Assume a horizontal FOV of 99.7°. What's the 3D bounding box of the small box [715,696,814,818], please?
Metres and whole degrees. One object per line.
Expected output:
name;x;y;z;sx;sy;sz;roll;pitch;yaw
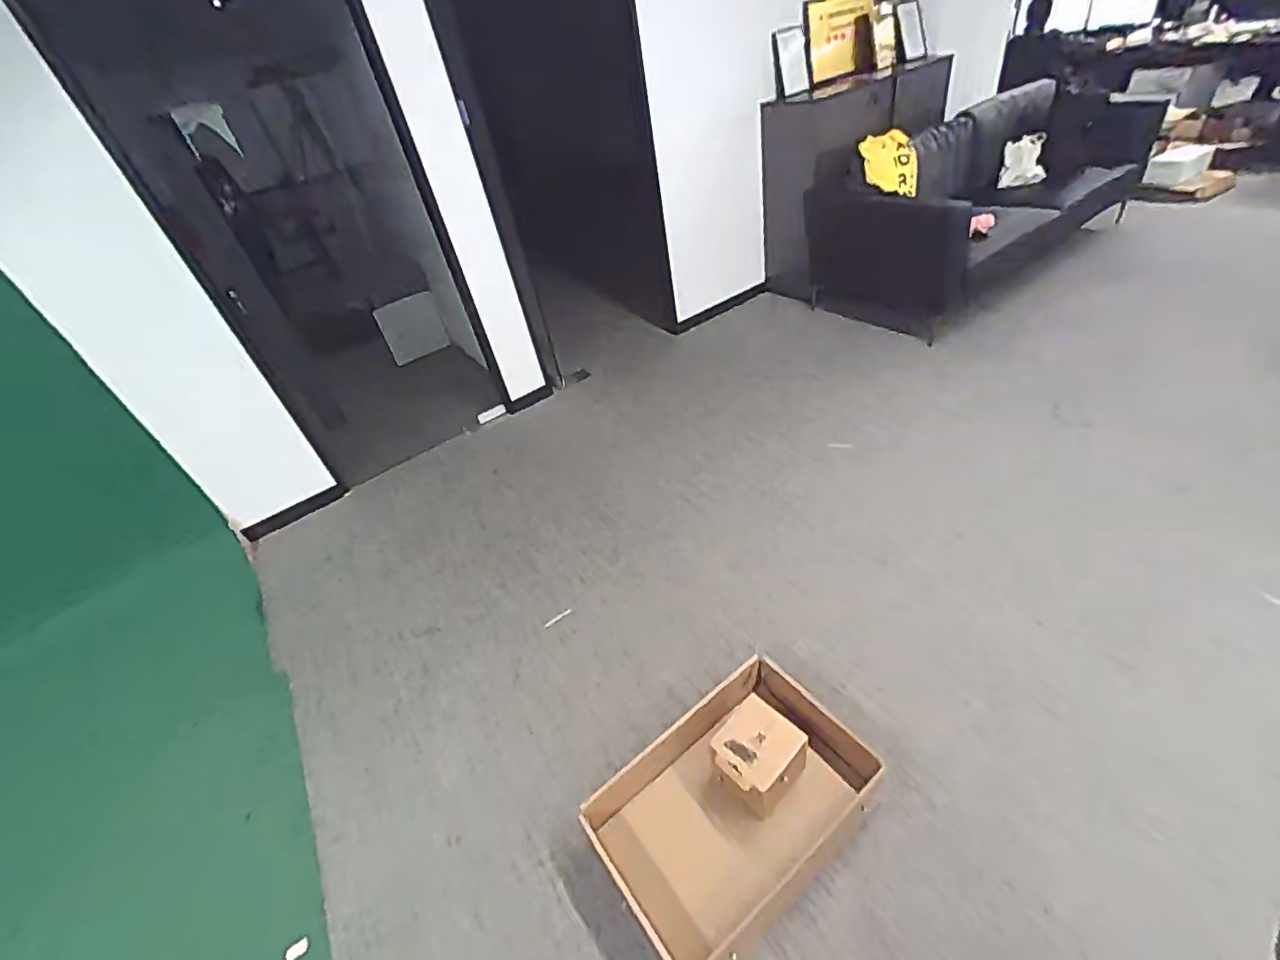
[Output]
small box;0.310;0.684;1.332;0.179;0.176;0.168;-37;45;-26
